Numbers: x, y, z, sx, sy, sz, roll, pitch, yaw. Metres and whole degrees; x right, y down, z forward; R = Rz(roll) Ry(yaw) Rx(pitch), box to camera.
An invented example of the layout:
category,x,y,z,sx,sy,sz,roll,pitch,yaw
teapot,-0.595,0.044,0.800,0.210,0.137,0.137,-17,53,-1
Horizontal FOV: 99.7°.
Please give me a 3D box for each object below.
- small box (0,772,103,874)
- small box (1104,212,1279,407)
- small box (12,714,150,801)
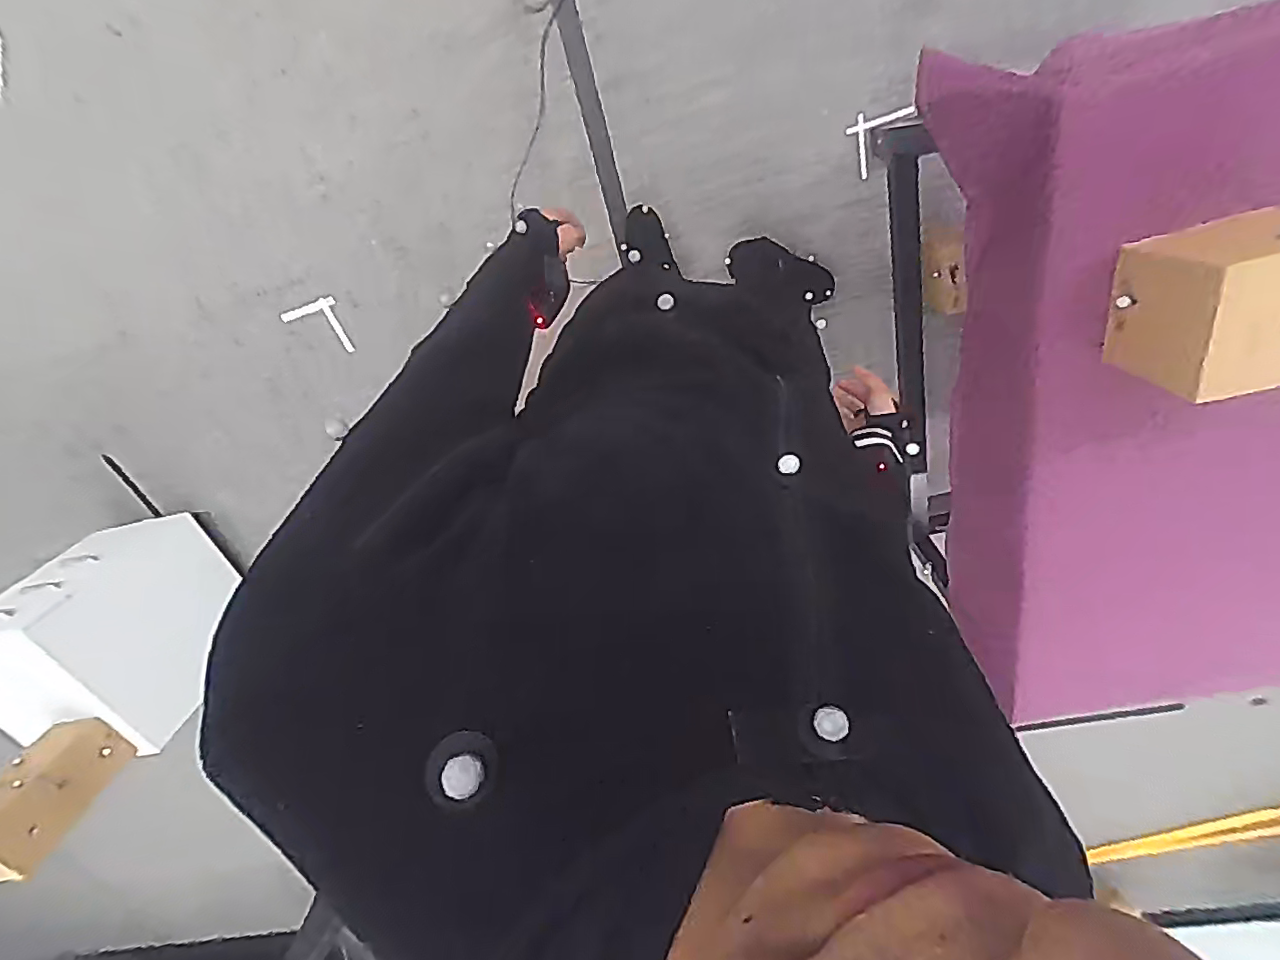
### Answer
category,x,y,z,sx,sy,sz,roll,pitch,yaw
small box,-1.581,0.880,1.399,0.168,0.176,0.179,-11,120,11
small box,0.729,-0.213,0.659,0.179,0.176,0.168,-12,119,10
small box,-1.578,0.795,1.540,0.179,0.176,0.168,-12,120,11
